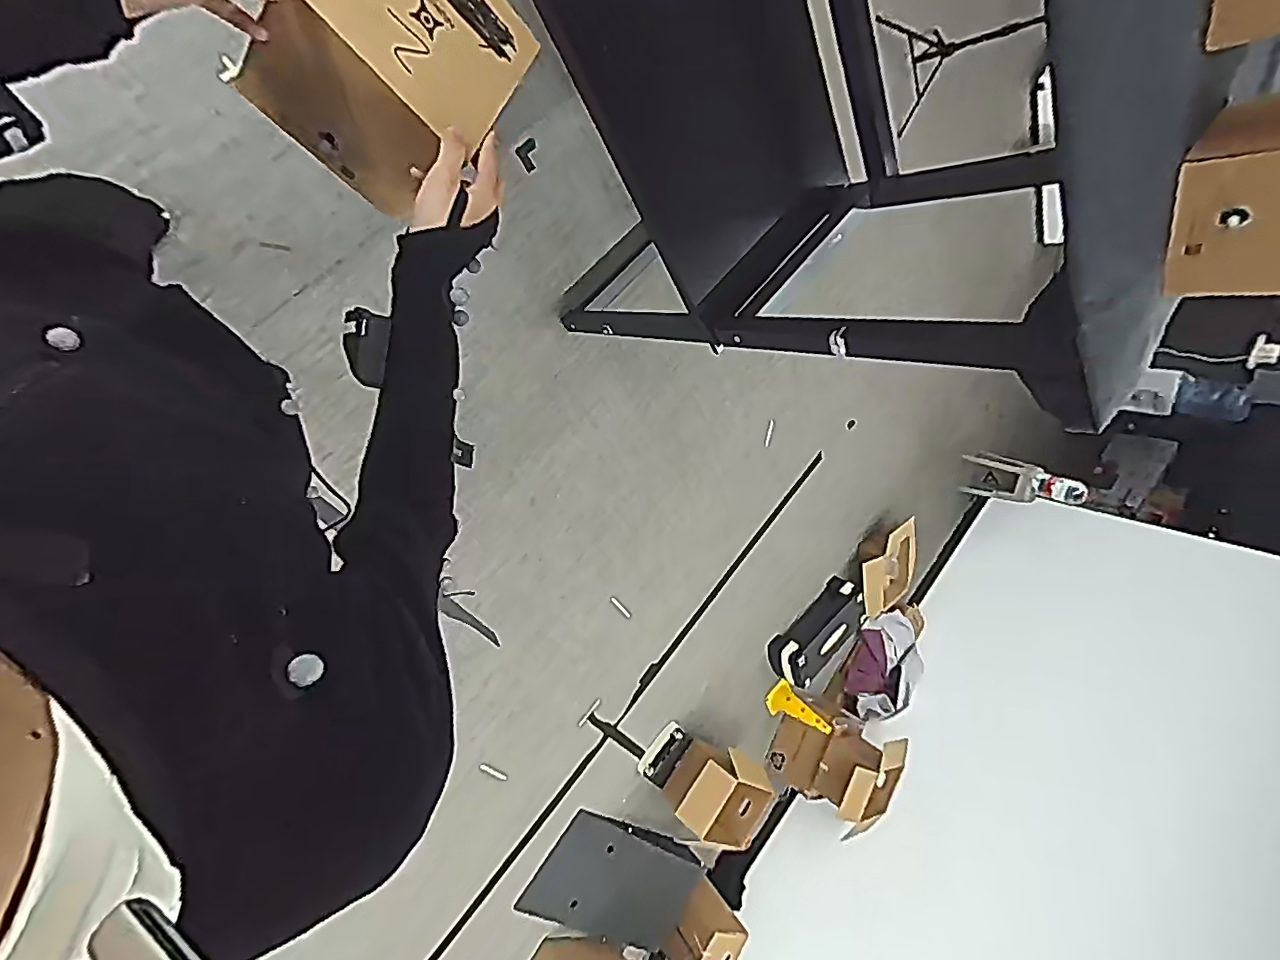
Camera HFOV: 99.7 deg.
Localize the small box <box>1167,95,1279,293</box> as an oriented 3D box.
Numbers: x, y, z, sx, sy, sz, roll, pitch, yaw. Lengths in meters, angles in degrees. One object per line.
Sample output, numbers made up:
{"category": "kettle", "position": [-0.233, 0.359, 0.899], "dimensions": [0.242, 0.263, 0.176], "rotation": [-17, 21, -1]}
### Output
{"category": "small box", "position": [0.752, -0.331, 0.617], "dimensions": [0.179, 0.176, 0.168], "rotation": [-43, 127, -19]}
